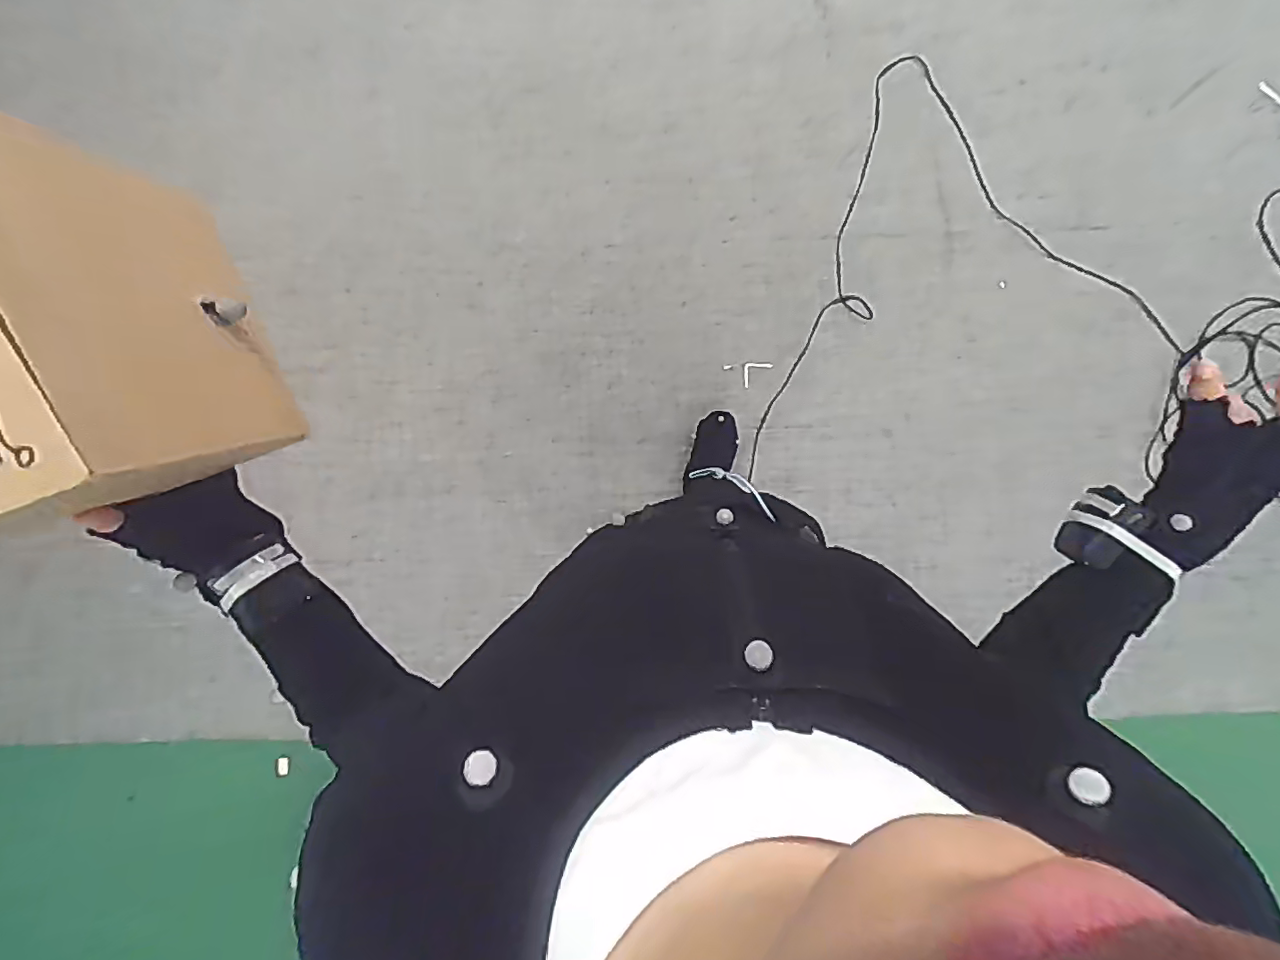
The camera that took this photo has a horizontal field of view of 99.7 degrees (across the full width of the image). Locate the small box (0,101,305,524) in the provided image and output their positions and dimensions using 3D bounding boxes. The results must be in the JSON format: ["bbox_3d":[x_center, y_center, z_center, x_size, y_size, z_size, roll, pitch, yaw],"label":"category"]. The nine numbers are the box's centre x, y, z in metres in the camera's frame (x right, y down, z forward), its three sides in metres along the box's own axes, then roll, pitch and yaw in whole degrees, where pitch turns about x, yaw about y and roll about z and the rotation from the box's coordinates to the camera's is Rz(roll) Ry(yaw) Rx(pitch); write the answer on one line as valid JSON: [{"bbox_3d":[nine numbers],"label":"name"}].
[{"bbox_3d":[-0.334,-0.075,0.293,0.168,0.176,0.179,-19,101,3],"label":"small box"}]
